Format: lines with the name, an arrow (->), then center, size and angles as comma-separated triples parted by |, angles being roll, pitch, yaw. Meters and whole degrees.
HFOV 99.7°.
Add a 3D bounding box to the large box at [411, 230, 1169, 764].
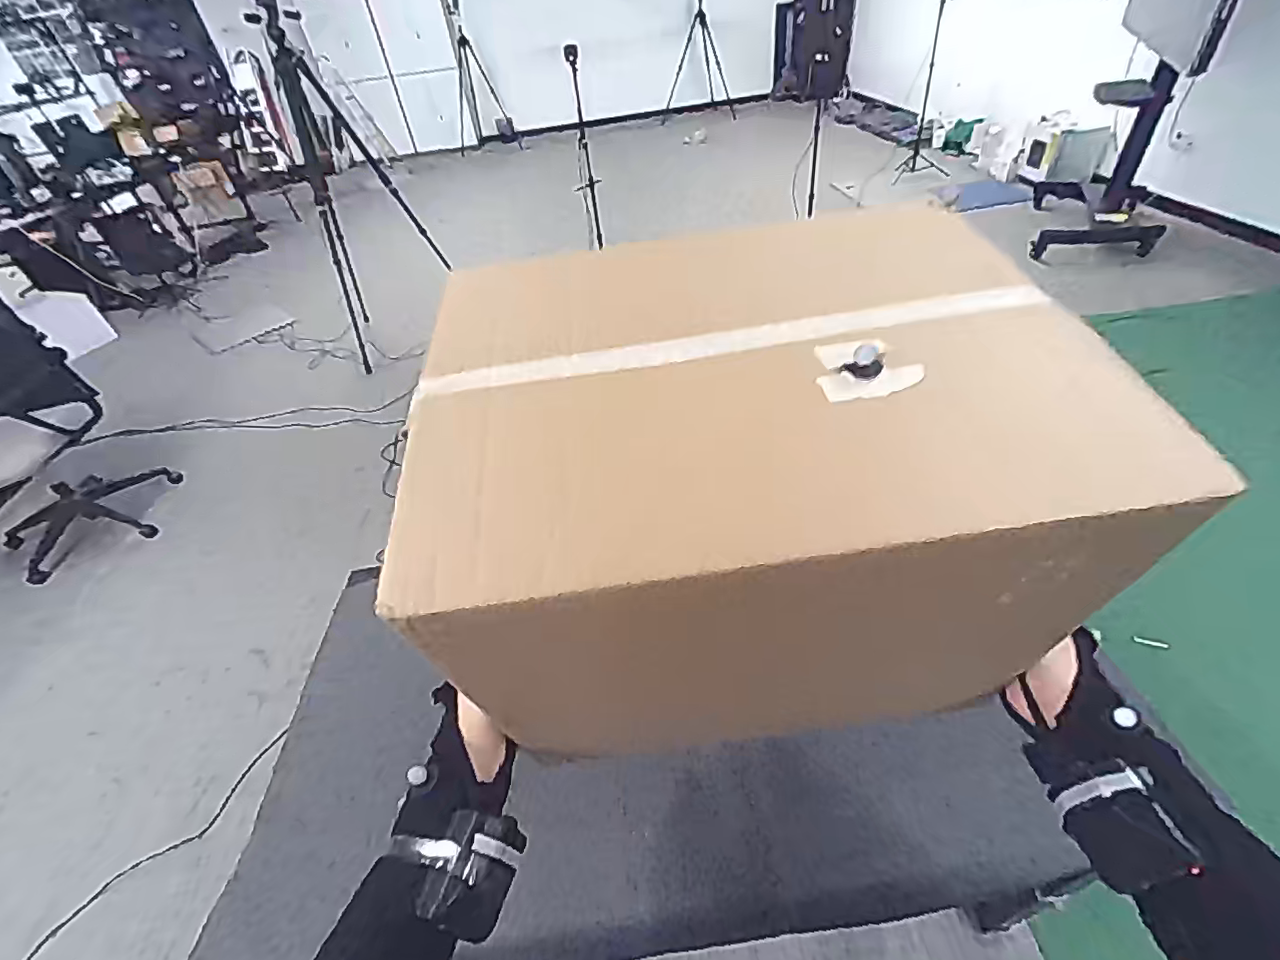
large box -> 0.072, 0.023, 0.482 | 0.408, 0.320, 0.320 | -8, 50, 0
